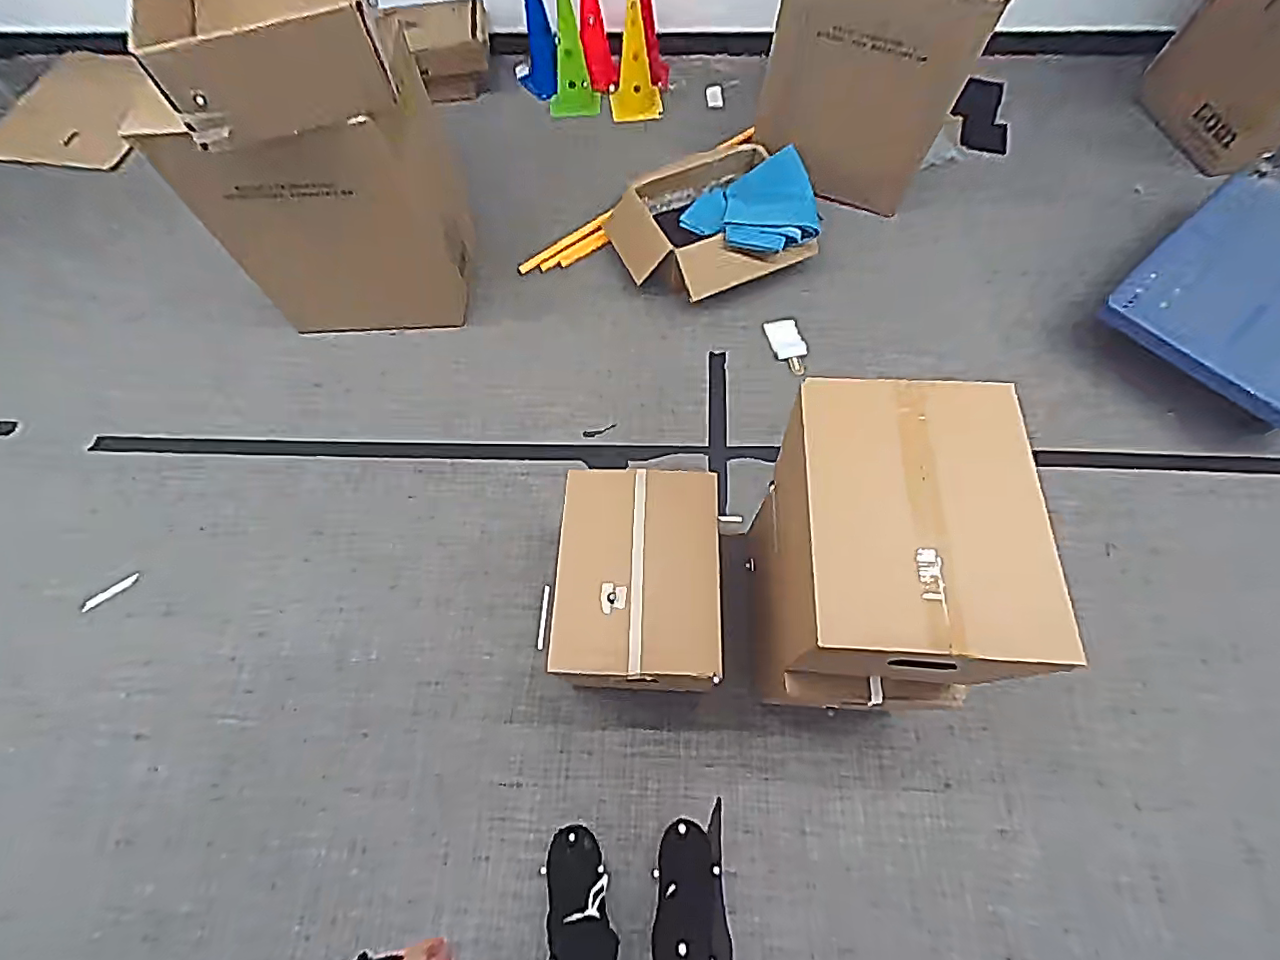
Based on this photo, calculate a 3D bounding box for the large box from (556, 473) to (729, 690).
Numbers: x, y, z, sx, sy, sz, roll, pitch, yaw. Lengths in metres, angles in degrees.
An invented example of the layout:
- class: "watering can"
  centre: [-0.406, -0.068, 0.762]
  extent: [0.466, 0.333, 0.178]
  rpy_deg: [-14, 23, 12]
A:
- class: "large box"
  centre: [0.007, 0.228, 1.169]
  extent: [0.320, 0.320, 0.408]
  rpy_deg: [0, 65, 2]
